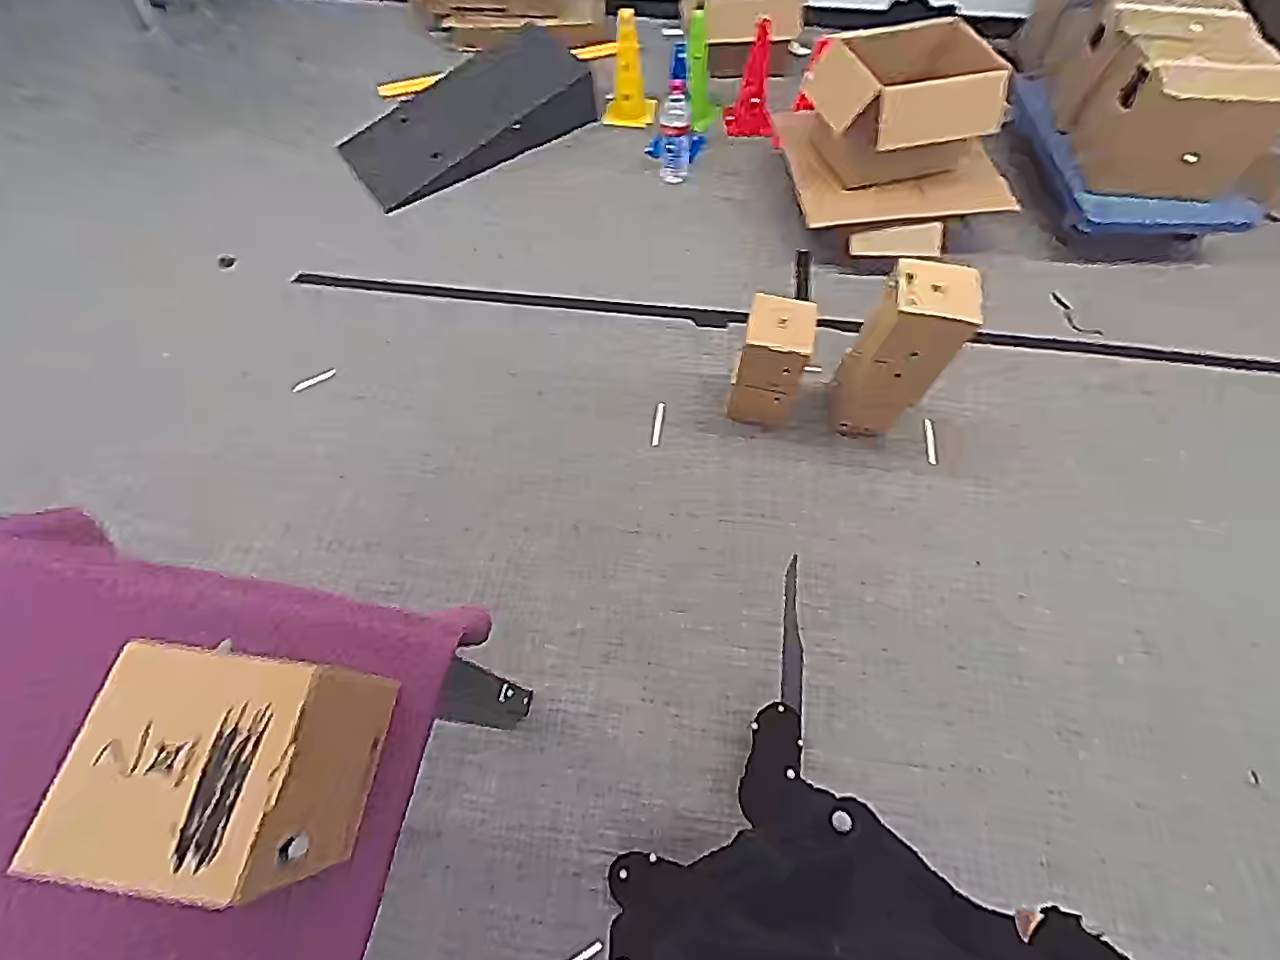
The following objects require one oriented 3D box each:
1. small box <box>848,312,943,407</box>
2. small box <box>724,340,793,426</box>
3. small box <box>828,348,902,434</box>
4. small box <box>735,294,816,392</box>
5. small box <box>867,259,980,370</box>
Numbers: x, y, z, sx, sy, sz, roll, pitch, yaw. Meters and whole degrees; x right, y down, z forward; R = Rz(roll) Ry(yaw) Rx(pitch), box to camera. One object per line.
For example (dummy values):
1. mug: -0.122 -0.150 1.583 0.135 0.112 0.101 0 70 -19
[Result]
1. small box: 0.654 -0.309 1.407 0.179 0.176 0.168 9 65 3
2. small box: 0.348 -0.278 1.576 0.179 0.176 0.168 12 64 6
3. small box: 0.651 -0.252 1.562 0.168 0.176 0.179 7 63 3
4. small box: 0.354 -0.357 1.434 0.168 0.176 0.179 12 63 4
5. small box: 0.654 -0.379 1.258 0.179 0.176 0.168 12 64 4
